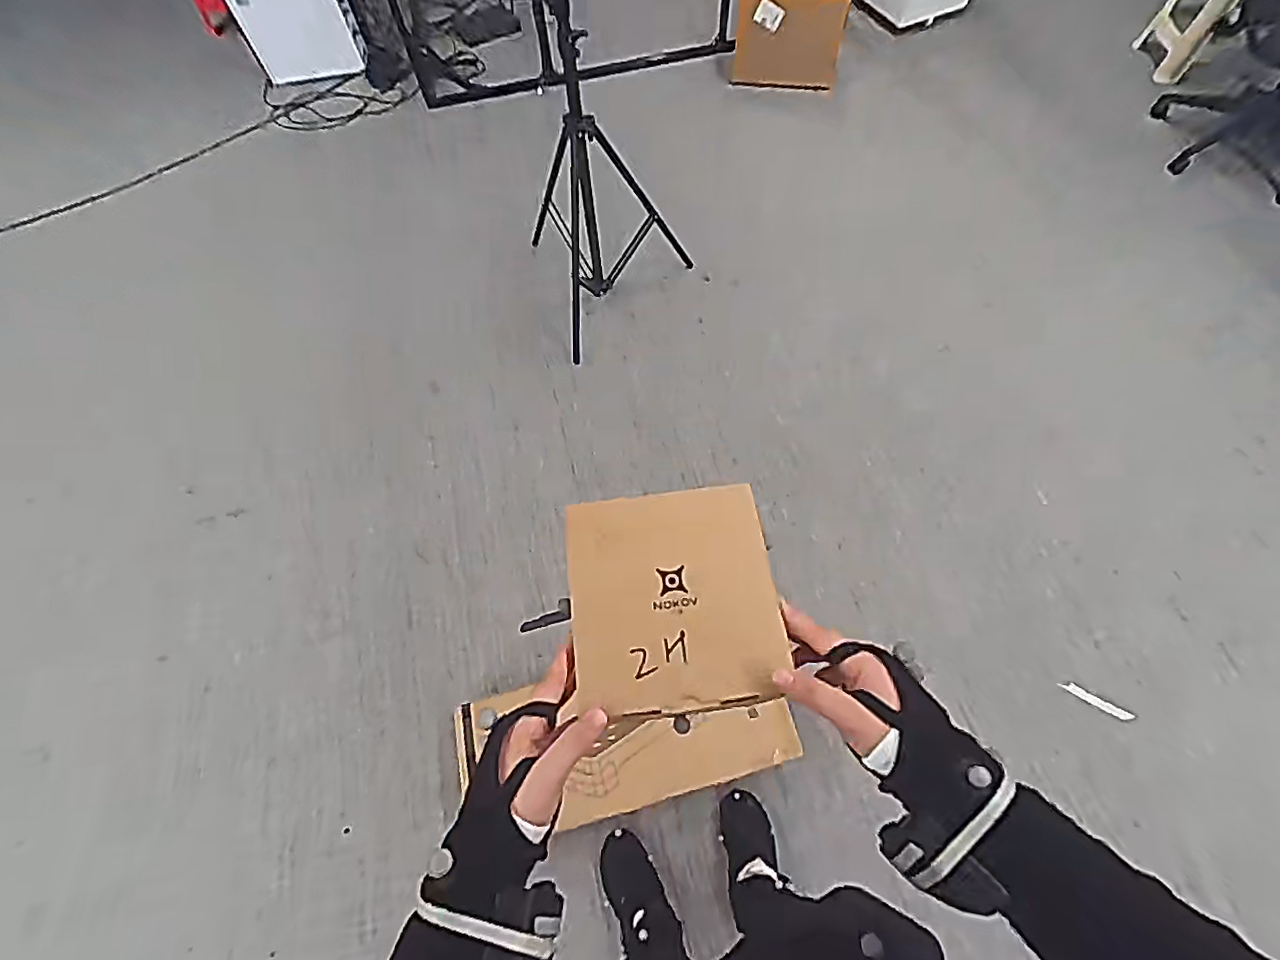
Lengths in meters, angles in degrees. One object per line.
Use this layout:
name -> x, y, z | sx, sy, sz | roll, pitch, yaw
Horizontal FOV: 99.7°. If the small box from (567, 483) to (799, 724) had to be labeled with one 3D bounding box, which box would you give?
small box -> 0.028, 0.122, 0.502 | 0.168, 0.176, 0.179 | -8, 66, -2
